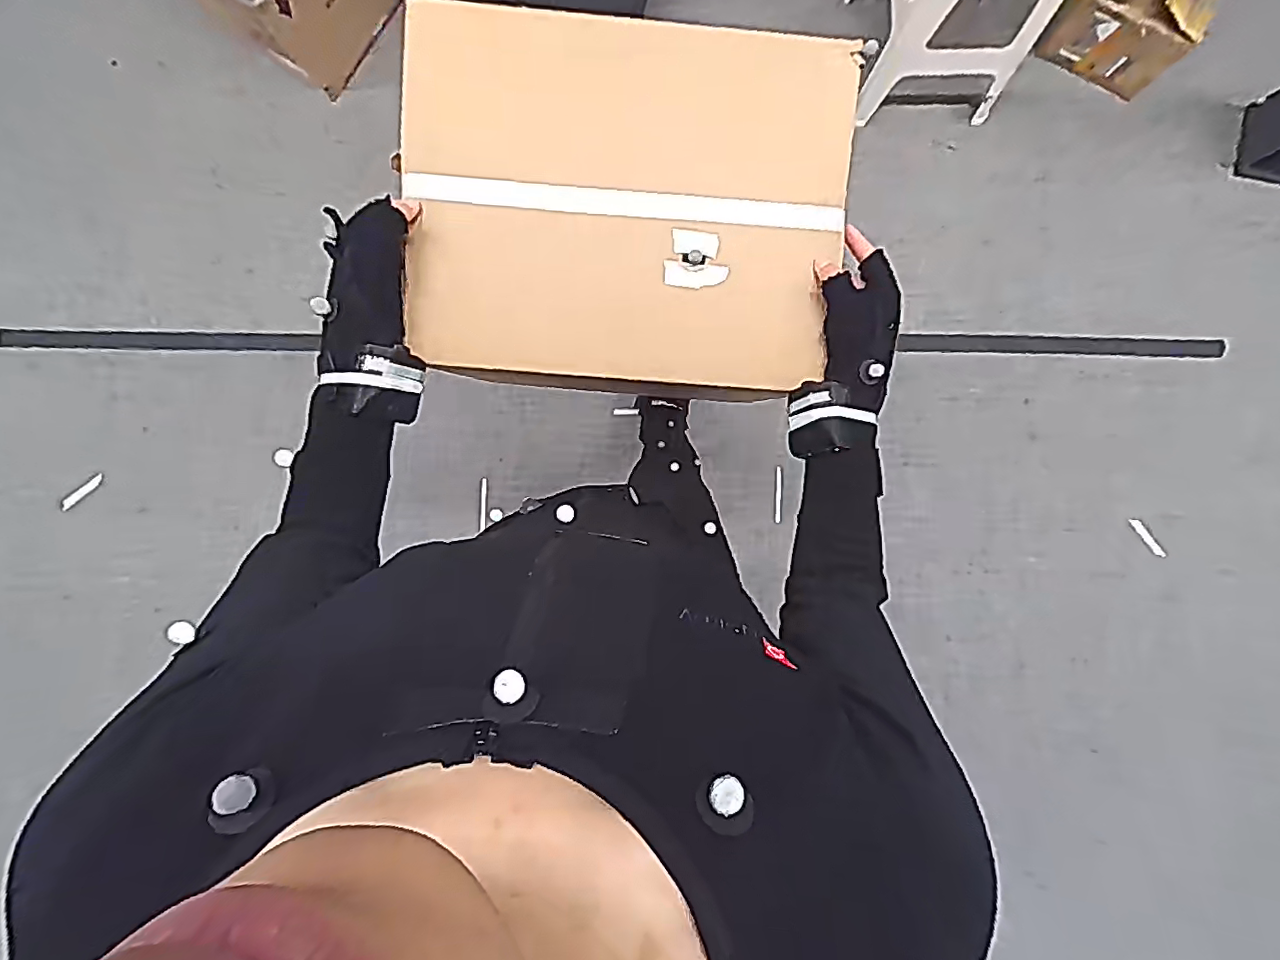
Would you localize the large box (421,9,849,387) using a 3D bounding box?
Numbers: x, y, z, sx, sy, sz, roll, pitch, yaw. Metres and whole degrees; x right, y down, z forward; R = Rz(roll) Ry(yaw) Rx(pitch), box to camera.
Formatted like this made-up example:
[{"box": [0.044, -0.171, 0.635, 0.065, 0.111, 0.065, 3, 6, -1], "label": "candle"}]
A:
[{"box": [-0.015, -0.286, 0.665, 0.408, 0.320, 0.320, 3, 97, -3], "label": "large box"}]
